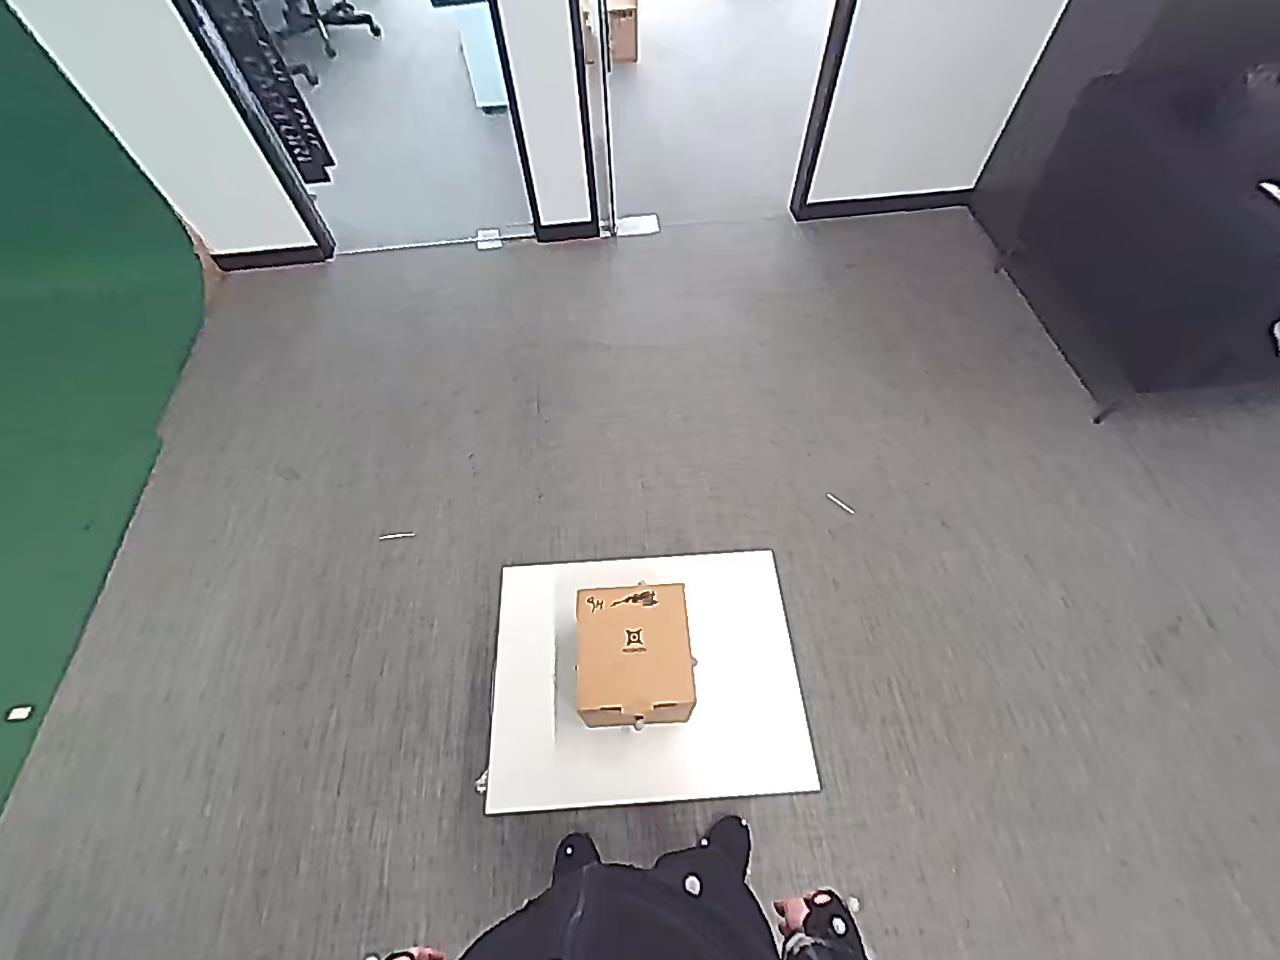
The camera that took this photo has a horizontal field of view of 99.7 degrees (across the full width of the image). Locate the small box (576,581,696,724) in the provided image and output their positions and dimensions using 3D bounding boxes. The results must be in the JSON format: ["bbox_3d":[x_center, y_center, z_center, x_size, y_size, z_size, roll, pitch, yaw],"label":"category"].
[{"bbox_3d":[-0.007,0.277,0.849,0.168,0.176,0.179,-6,58,-2],"label":"small box"}]
